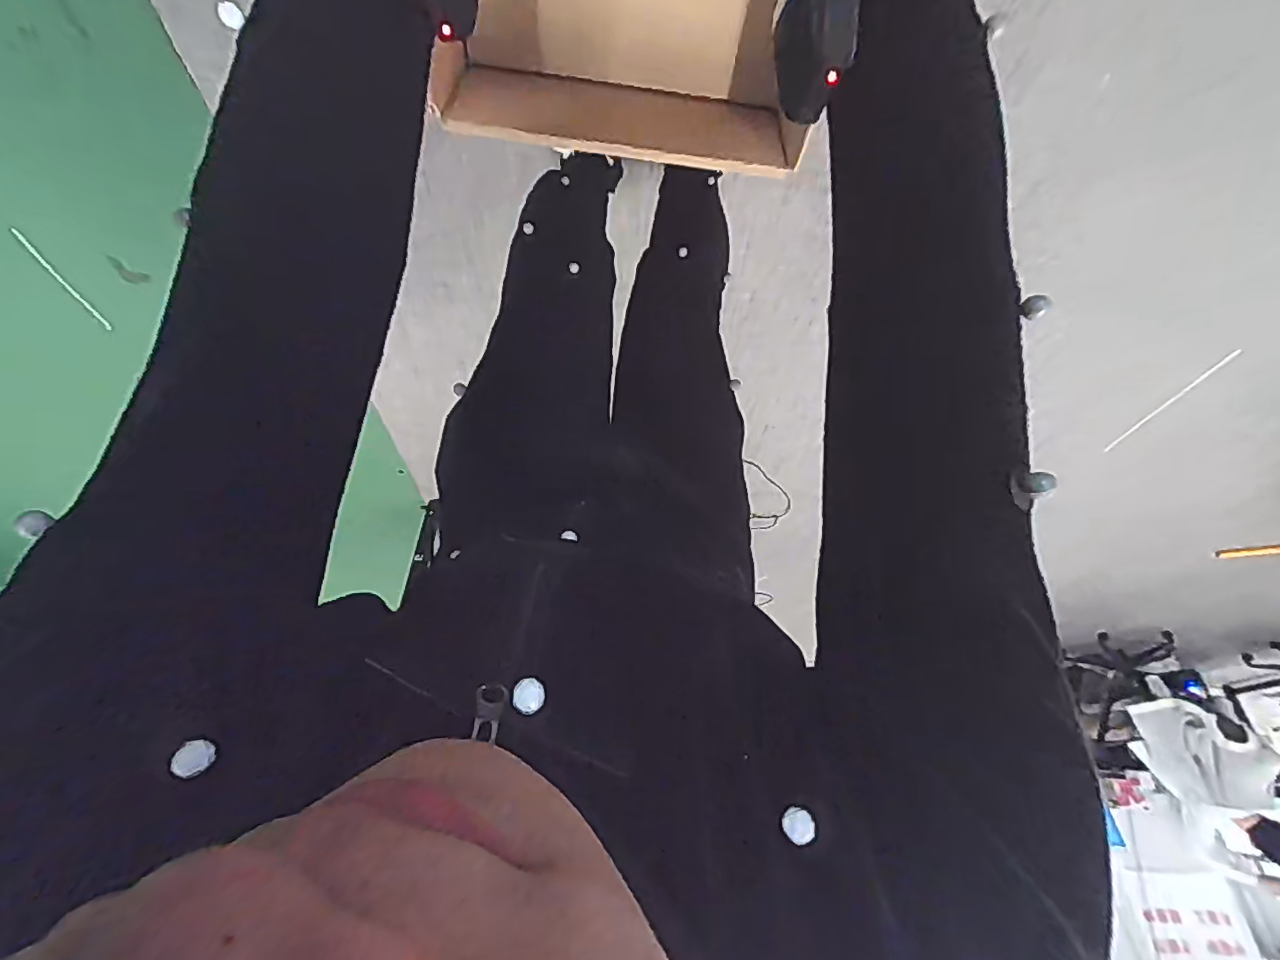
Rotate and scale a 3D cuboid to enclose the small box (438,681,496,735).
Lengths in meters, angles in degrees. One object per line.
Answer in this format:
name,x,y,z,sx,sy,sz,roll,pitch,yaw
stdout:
small box,-0.669,0.887,2.108,0.179,0.176,0.168,5,148,-7
